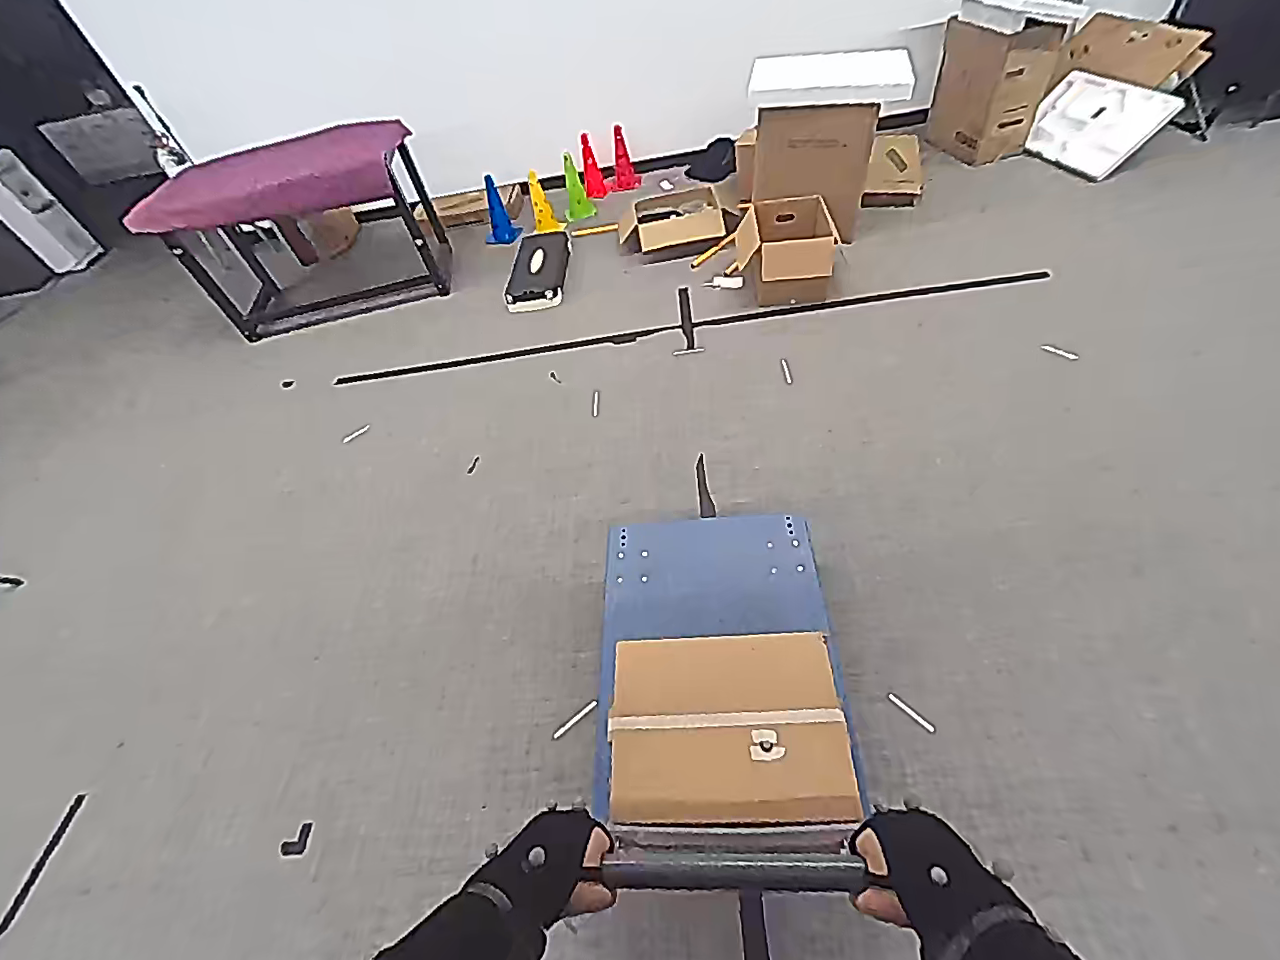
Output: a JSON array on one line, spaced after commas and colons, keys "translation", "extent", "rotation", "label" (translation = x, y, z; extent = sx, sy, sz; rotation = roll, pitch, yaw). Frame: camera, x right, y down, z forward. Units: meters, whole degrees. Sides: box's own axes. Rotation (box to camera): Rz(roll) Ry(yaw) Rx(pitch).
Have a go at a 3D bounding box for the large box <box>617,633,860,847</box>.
[{"translation": [0.172, 0.528, 1.084], "extent": [0.408, 0.320, 0.320], "rotation": [-5, 50, 6], "label": "large box"}]
